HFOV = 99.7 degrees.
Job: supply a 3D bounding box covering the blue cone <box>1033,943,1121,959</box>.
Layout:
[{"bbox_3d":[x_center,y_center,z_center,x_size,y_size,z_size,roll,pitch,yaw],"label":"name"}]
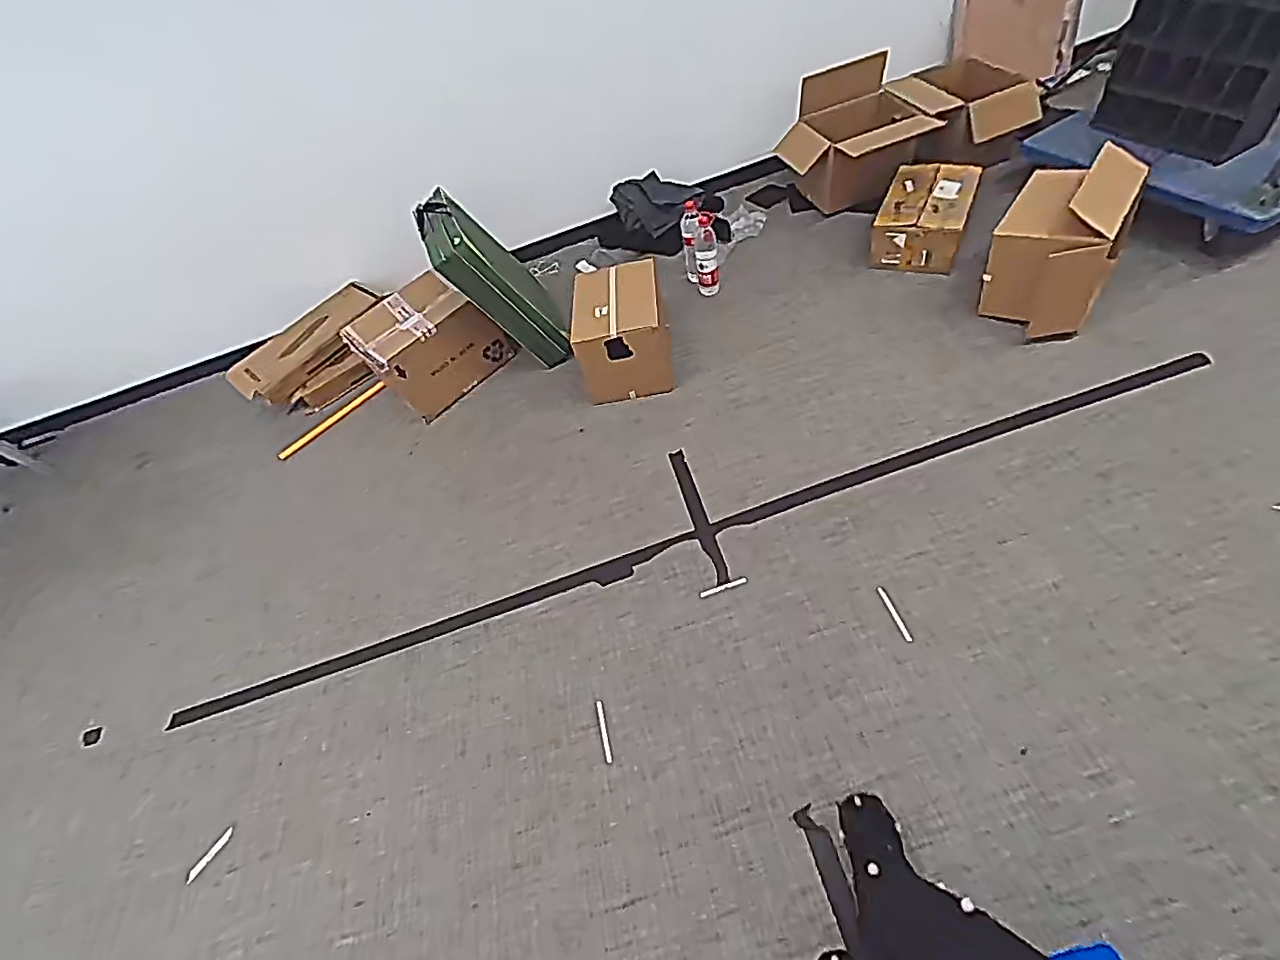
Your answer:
[{"bbox_3d":[0.738,0.825,0.785,0.192,0.380,0.193,-15,52,3],"label":"blue cone"}]
